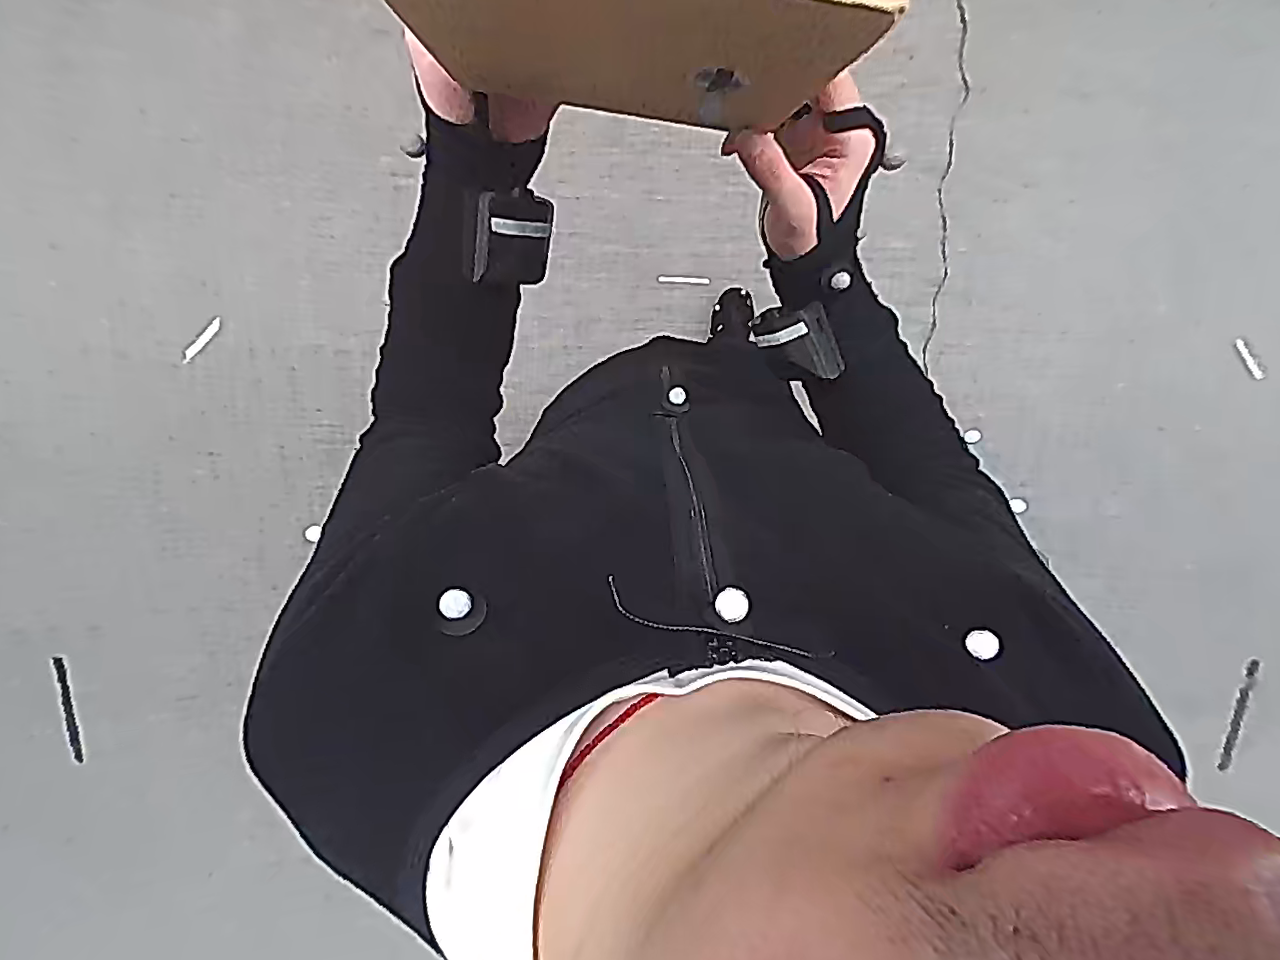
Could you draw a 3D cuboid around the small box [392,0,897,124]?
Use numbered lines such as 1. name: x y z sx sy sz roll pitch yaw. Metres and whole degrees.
1. small box: 0.000 -0.257 0.208 0.179 0.176 0.168 4 110 -4
